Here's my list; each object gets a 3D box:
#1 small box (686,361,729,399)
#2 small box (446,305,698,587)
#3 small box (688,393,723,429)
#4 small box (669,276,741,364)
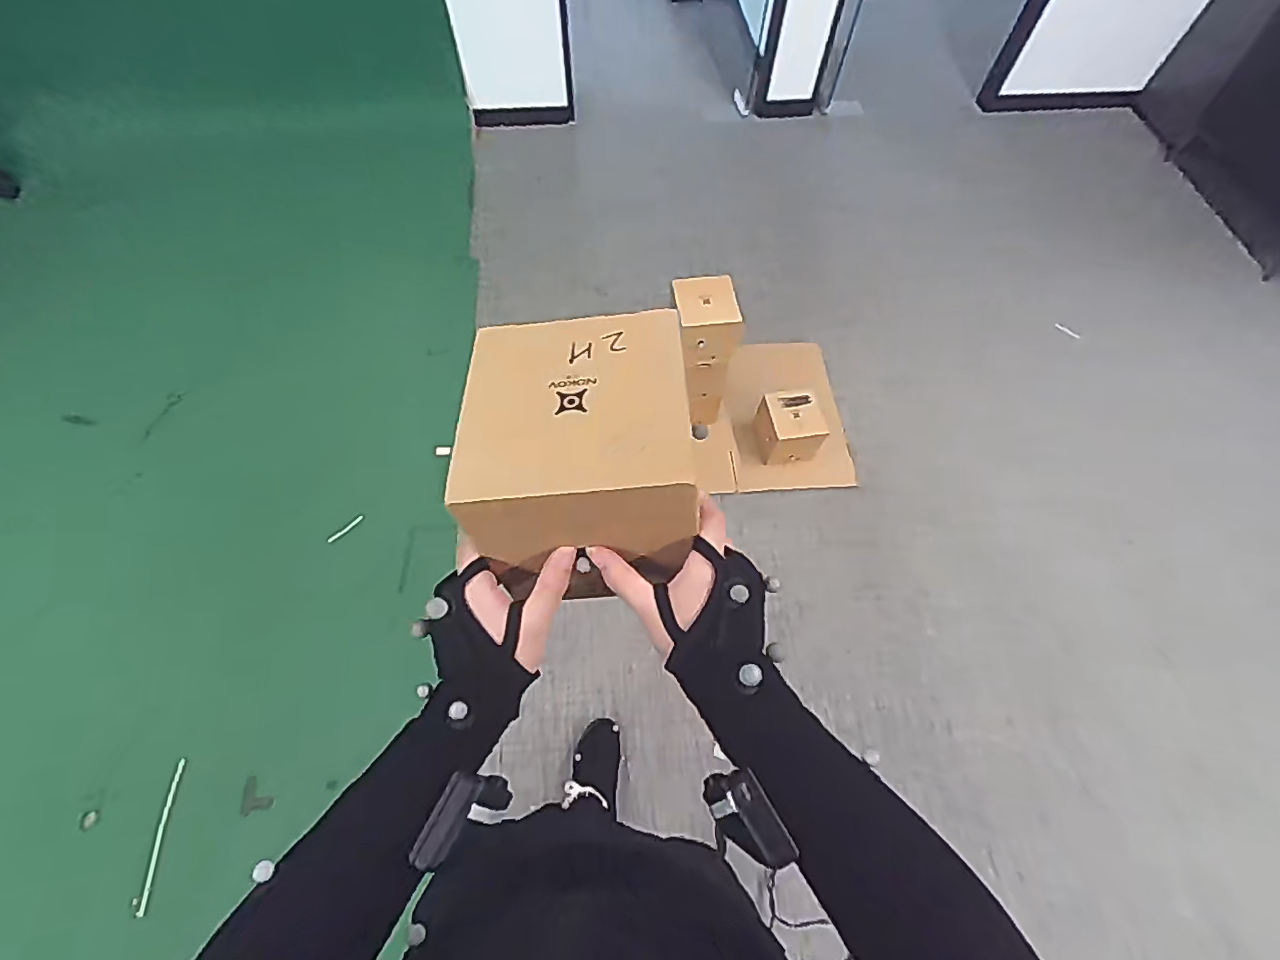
[{"bbox_3d":[0.169,-0.364,1.664,0.168,0.176,0.179,-7,62,-5],"label":"small box"},{"bbox_3d":[-0.039,-0.019,0.456,0.168,0.176,0.179,-4,53,3],"label":"small box"},{"bbox_3d":[0.166,-0.288,1.808,0.168,0.176,0.179,-10,63,-6],"label":"small box"},{"bbox_3d":[0.176,-0.441,1.521,0.168,0.176,0.179,-7,62,-4],"label":"small box"}]
